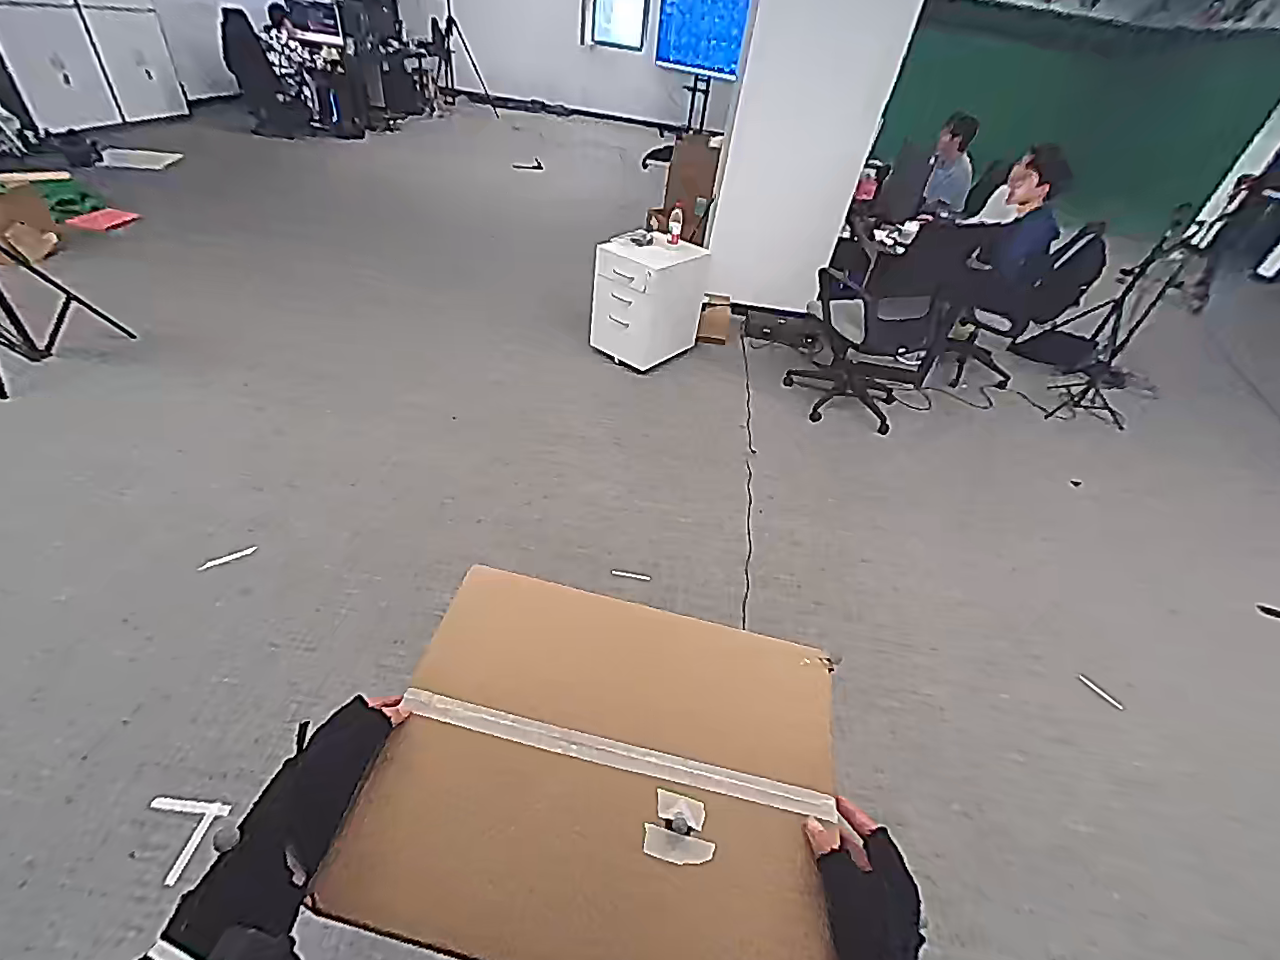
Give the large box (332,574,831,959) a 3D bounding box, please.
[{"bbox_3d":[-0.040,0.357,0.619,0.408,0.320,0.320,14,47,3],"label":"large box"}]
